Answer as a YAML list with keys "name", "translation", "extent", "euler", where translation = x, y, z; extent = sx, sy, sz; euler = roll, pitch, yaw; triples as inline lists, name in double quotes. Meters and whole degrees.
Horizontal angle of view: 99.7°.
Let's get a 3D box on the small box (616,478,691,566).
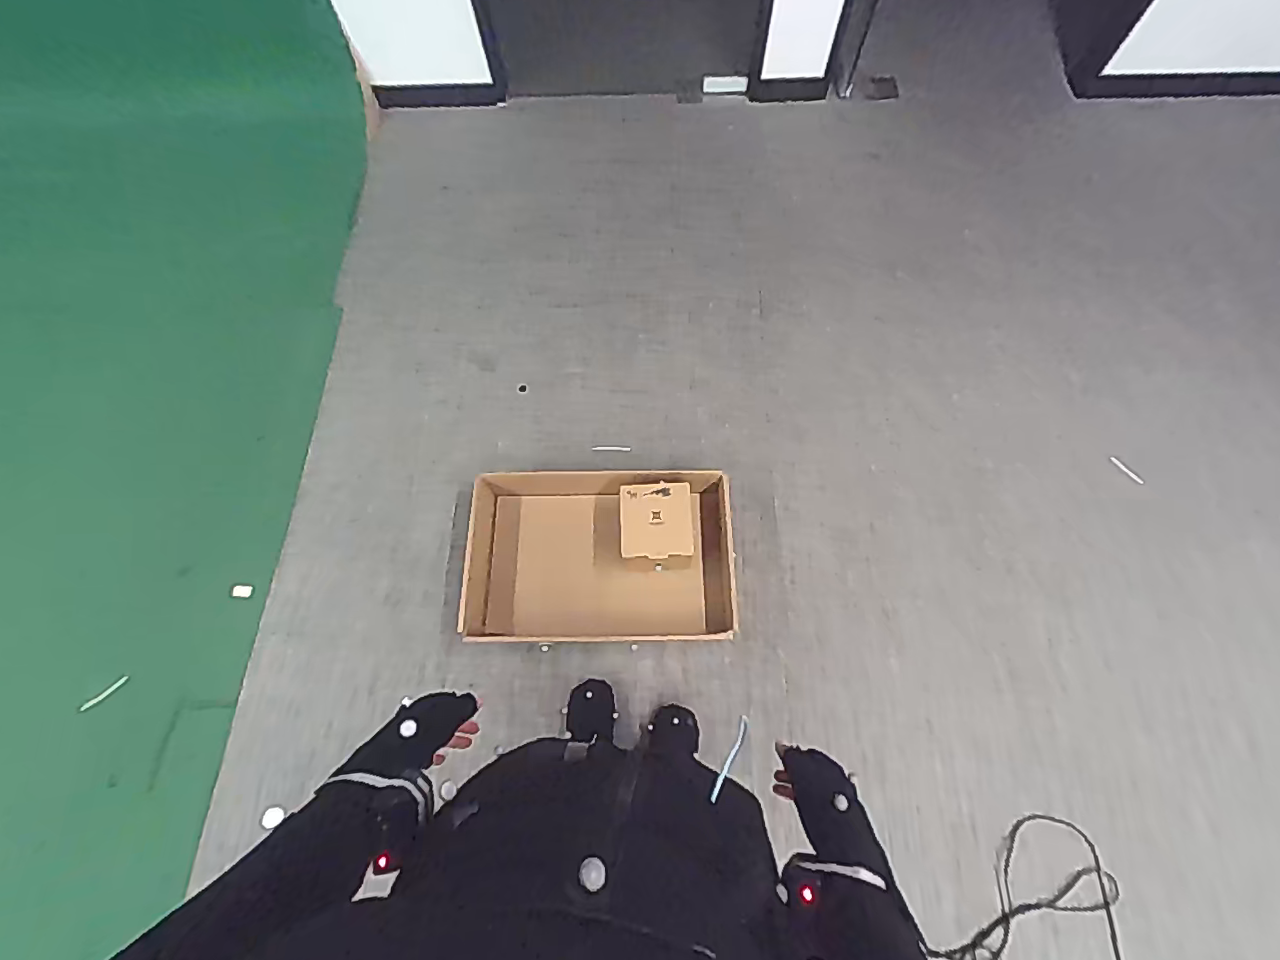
- name: "small box"
  translation: [0.036, 0.109, 1.313]
  extent: [0.168, 0.176, 0.179]
  euler: [-5, 69, 2]
